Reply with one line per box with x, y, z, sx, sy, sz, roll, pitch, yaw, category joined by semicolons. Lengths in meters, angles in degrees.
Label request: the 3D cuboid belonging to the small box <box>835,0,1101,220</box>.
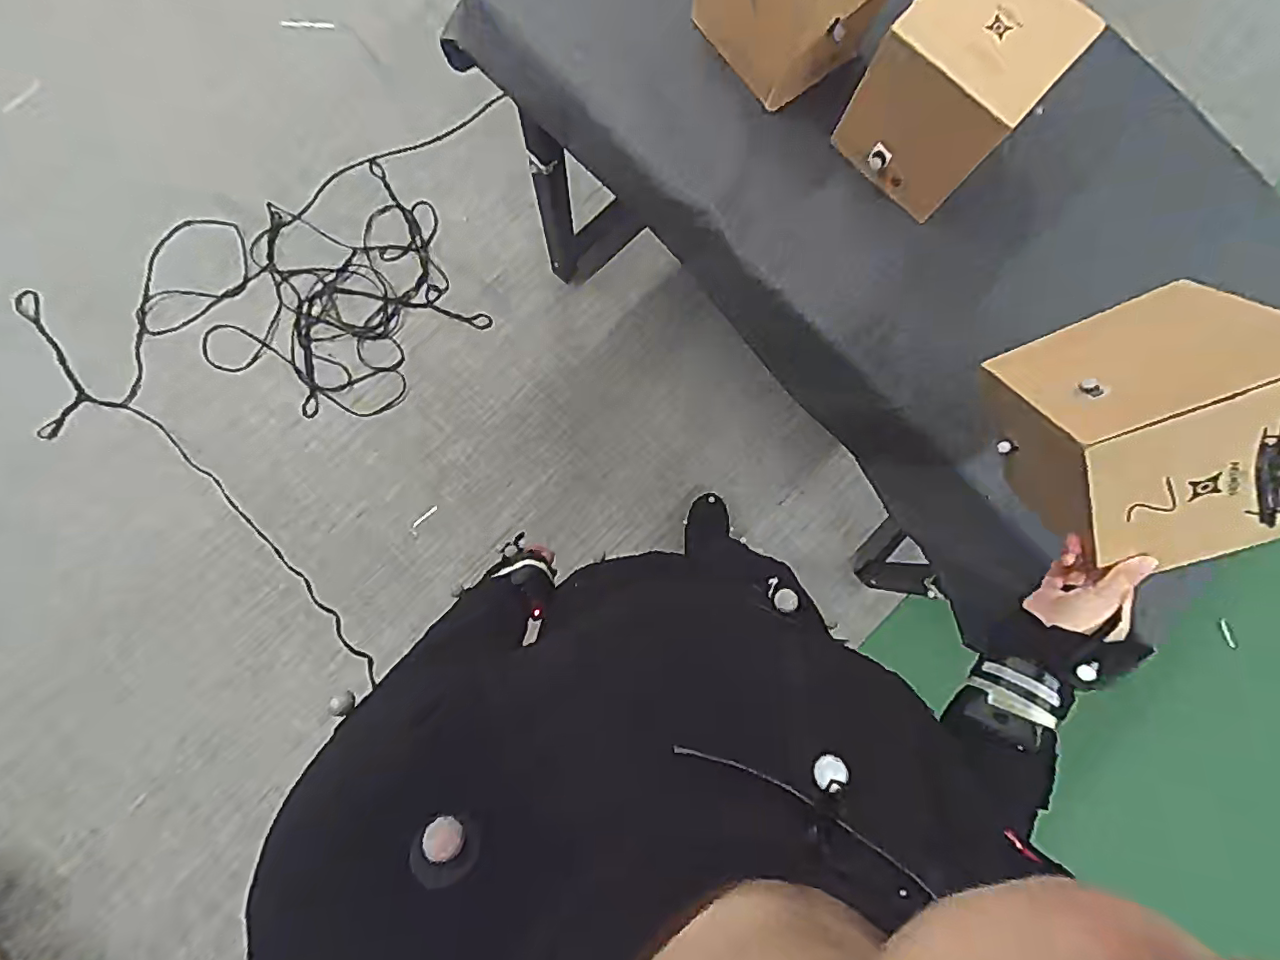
0.368;-0.460;0.642;0.168;0.176;0.179;41;82;3;small box

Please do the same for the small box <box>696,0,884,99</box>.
0.189;-0.606;0.648;0.168;0.176;0.179;-37;86;-7;small box
